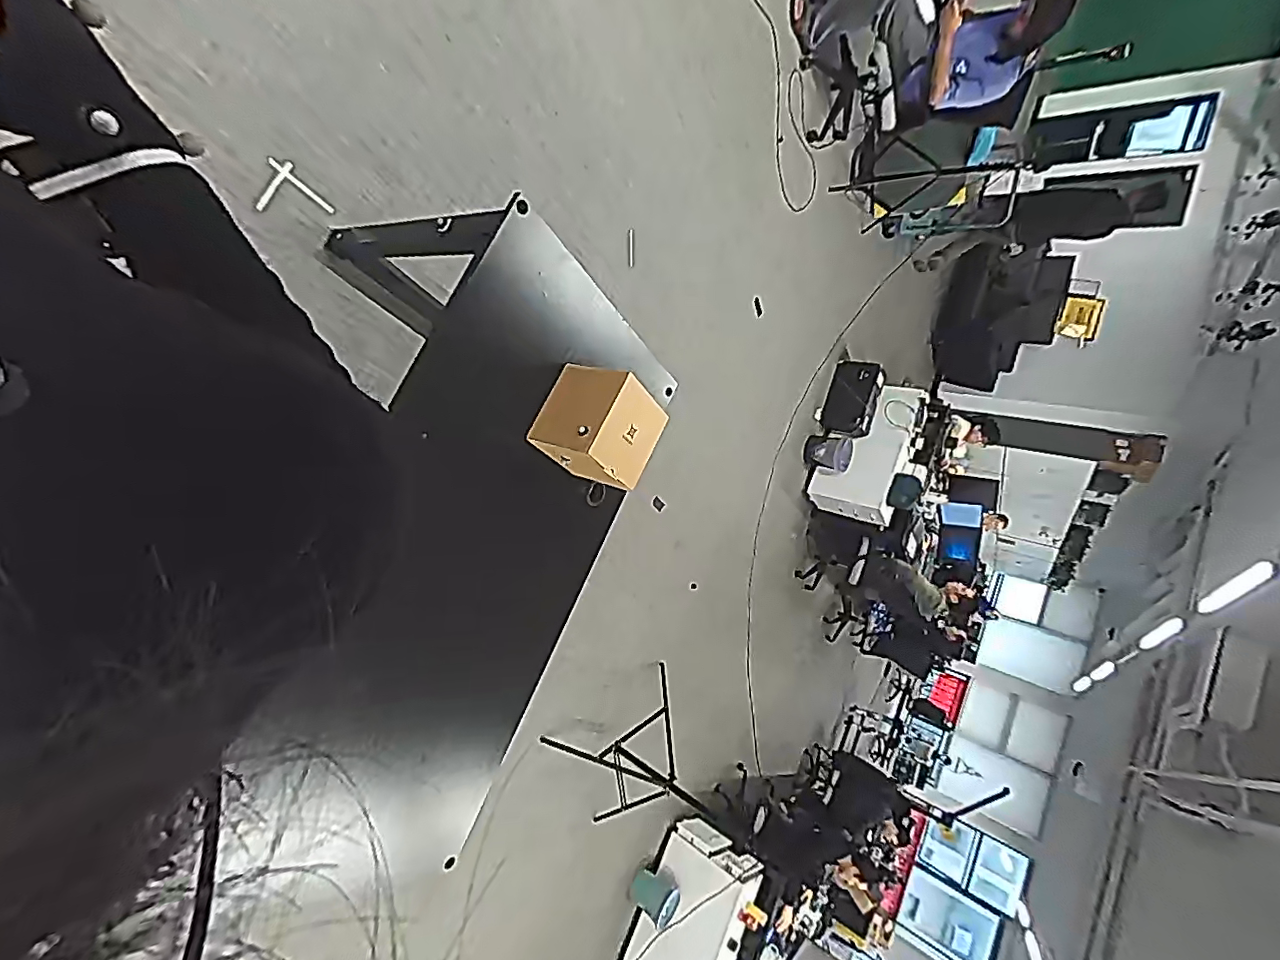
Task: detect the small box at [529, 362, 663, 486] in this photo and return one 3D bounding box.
[{"bbox_3d":[-0.089,-0.115,1.068,0.168,0.176,0.179,41,71,-51],"label":"small box"}]
